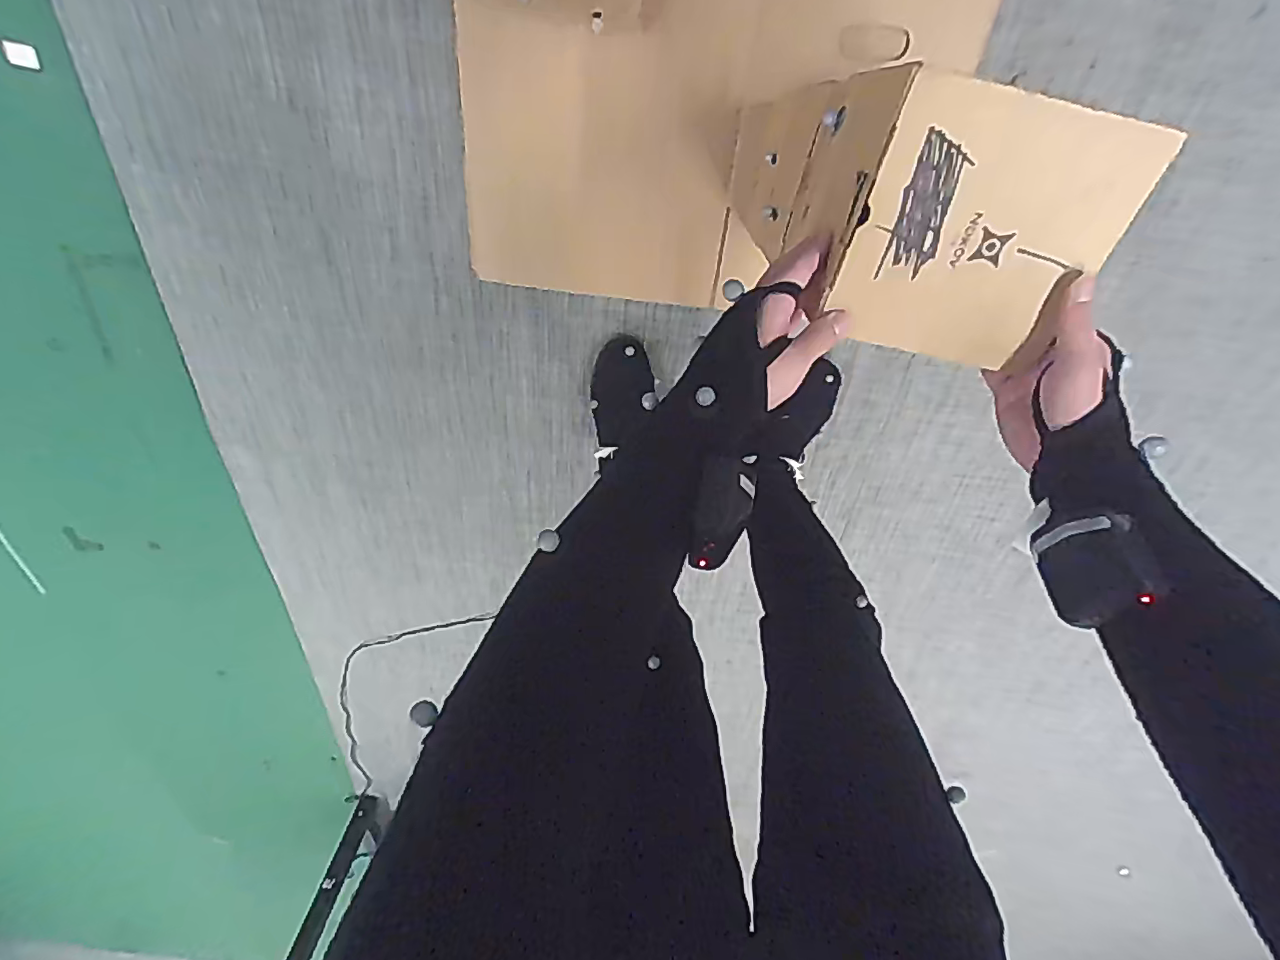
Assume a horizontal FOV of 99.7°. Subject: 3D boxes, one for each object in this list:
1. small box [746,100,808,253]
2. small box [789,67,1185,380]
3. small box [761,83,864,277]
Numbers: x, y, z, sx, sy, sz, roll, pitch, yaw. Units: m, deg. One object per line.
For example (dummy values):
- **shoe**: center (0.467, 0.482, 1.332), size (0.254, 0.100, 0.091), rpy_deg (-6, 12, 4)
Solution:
- **small box**: center (0.252, -0.393, 0.720), size (0.179, 0.176, 0.168), rpy_deg (9, 124, -2)
- **small box**: center (0.235, -0.204, 0.431), size (0.179, 0.176, 0.168), rpy_deg (11, 125, -4)
- **small box**: center (0.241, -0.305, 0.583), size (0.179, 0.176, 0.168), rpy_deg (11, 124, -3)
